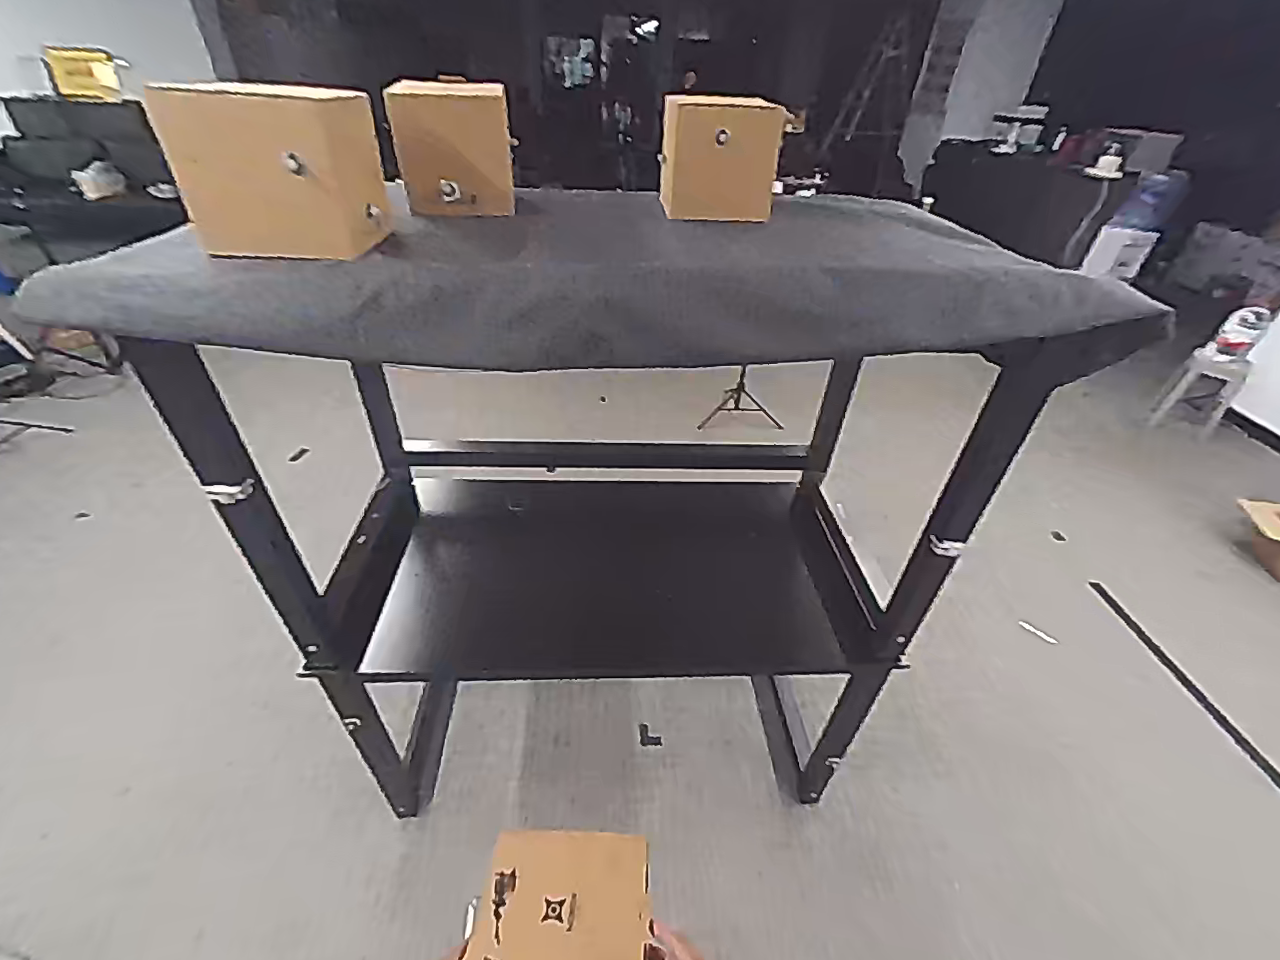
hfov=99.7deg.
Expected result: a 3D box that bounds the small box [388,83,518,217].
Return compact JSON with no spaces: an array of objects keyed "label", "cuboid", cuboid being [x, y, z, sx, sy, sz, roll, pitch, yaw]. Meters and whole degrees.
[{"label":"small box","cuboid":[-0.297,-0.547,0.895,0.168,0.176,0.179,-5,39,-9]}]

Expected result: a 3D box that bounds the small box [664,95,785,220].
[{"label":"small box","cuboid":[0.134,-0.562,0.942,0.179,0.176,0.168,0,39,-4]}]

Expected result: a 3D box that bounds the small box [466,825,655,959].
[{"label":"small box","cuboid":[-0.079,0.512,0.579,0.179,0.176,0.168,3,22,2]}]
